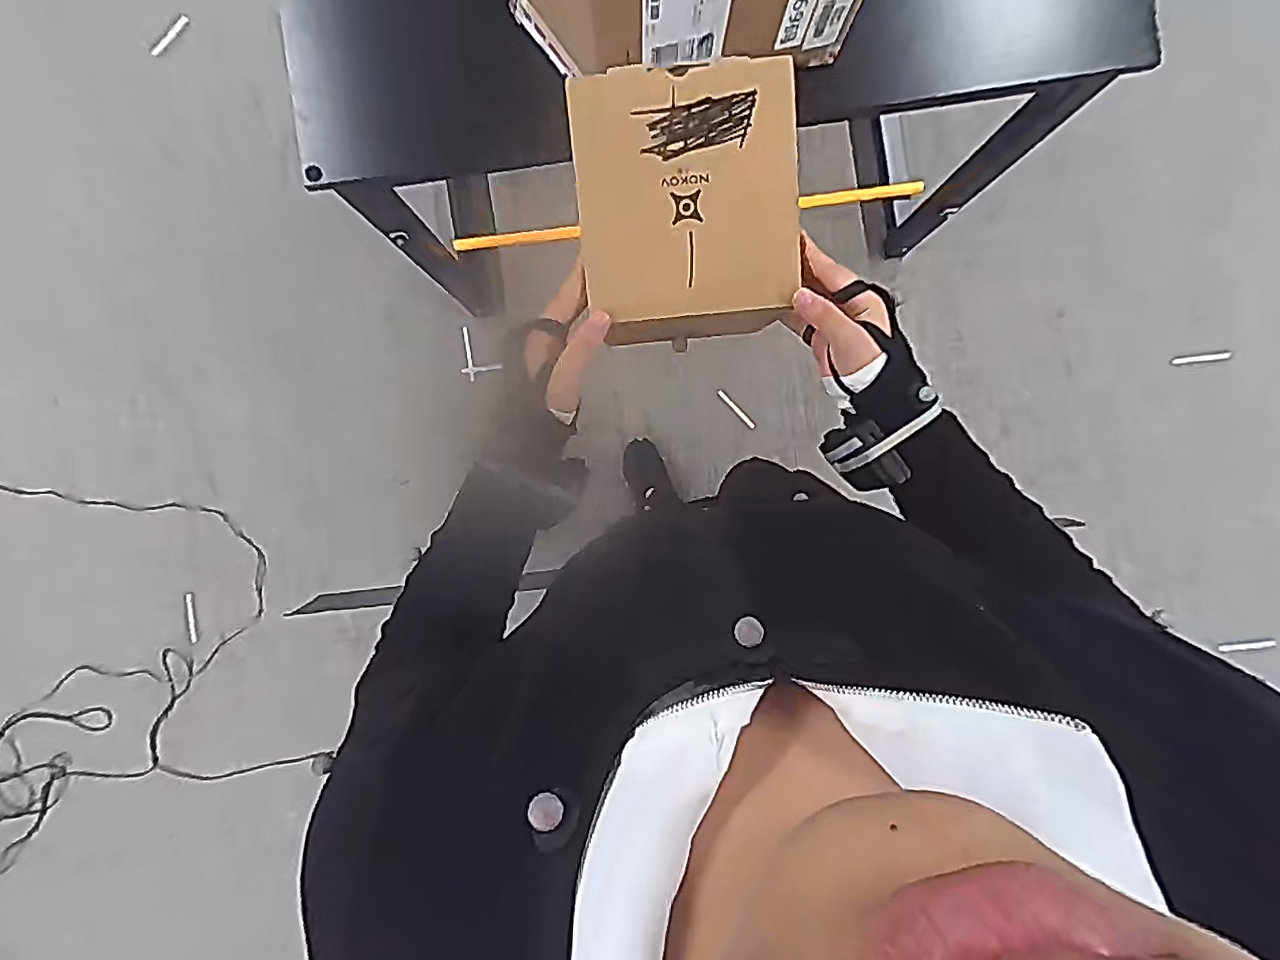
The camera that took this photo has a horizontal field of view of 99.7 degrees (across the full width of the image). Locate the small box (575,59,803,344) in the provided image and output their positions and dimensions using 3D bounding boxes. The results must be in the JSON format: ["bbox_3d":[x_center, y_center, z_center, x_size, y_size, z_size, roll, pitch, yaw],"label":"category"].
[{"bbox_3d":[0.038,-0.226,0.484,0.168,0.176,0.179,-5,99,1],"label":"small box"}]
